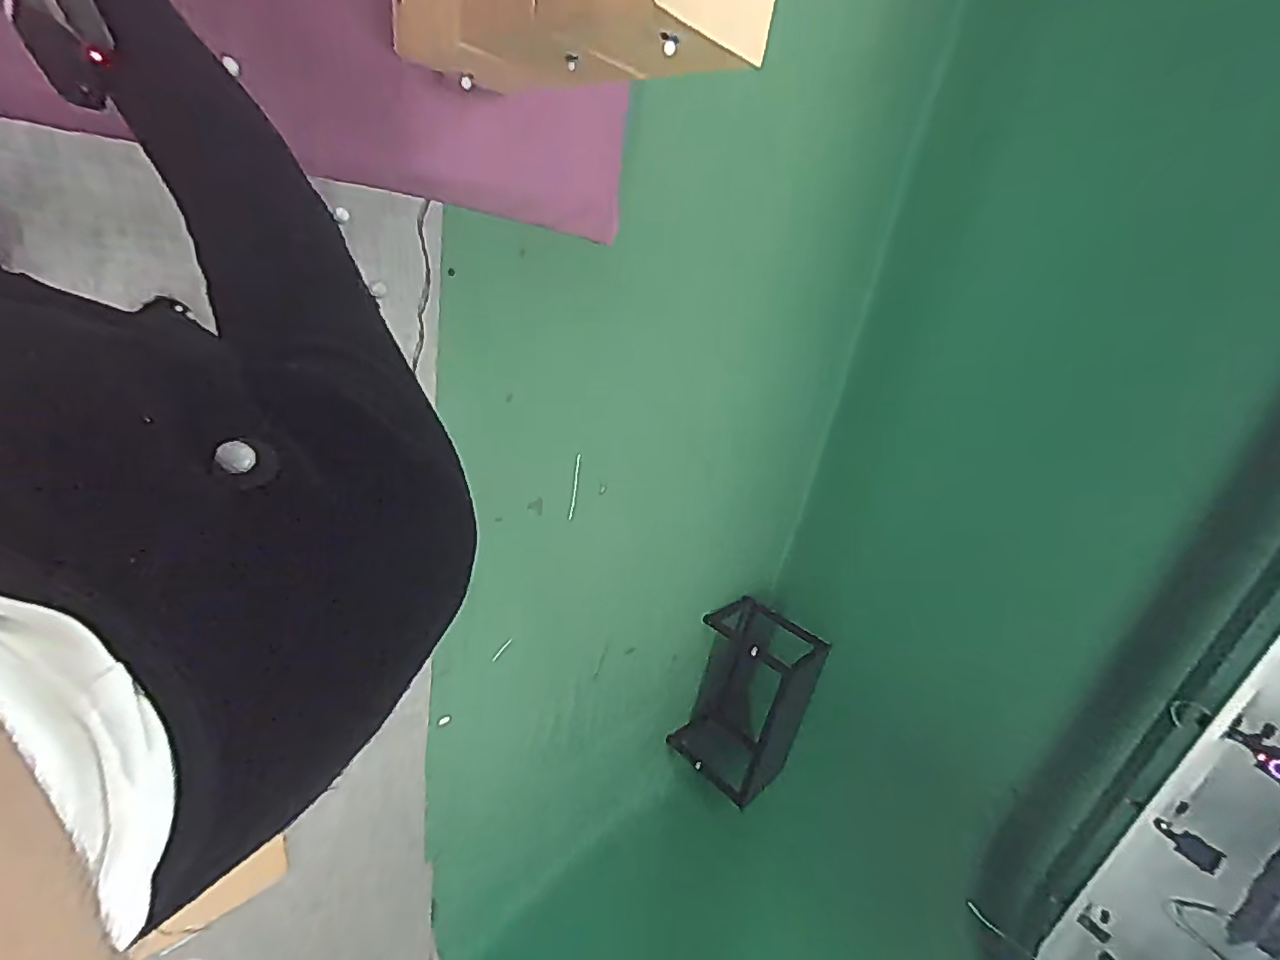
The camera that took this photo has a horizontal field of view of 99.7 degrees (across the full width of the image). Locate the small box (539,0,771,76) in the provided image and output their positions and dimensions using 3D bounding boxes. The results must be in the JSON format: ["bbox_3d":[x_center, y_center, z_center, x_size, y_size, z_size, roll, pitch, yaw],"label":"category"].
[{"bbox_3d":[0.020,-0.522,0.534,0.179,0.176,0.168,-16,125,-44],"label":"small box"}]

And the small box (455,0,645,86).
[{"bbox_3d":[-0.098,-0.583,0.631,0.179,0.176,0.168,-14,124,-45],"label":"small box"}]

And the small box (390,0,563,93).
[{"bbox_3d":[-0.214,-0.644,0.728,0.179,0.176,0.168,-16,124,-44],"label":"small box"}]
